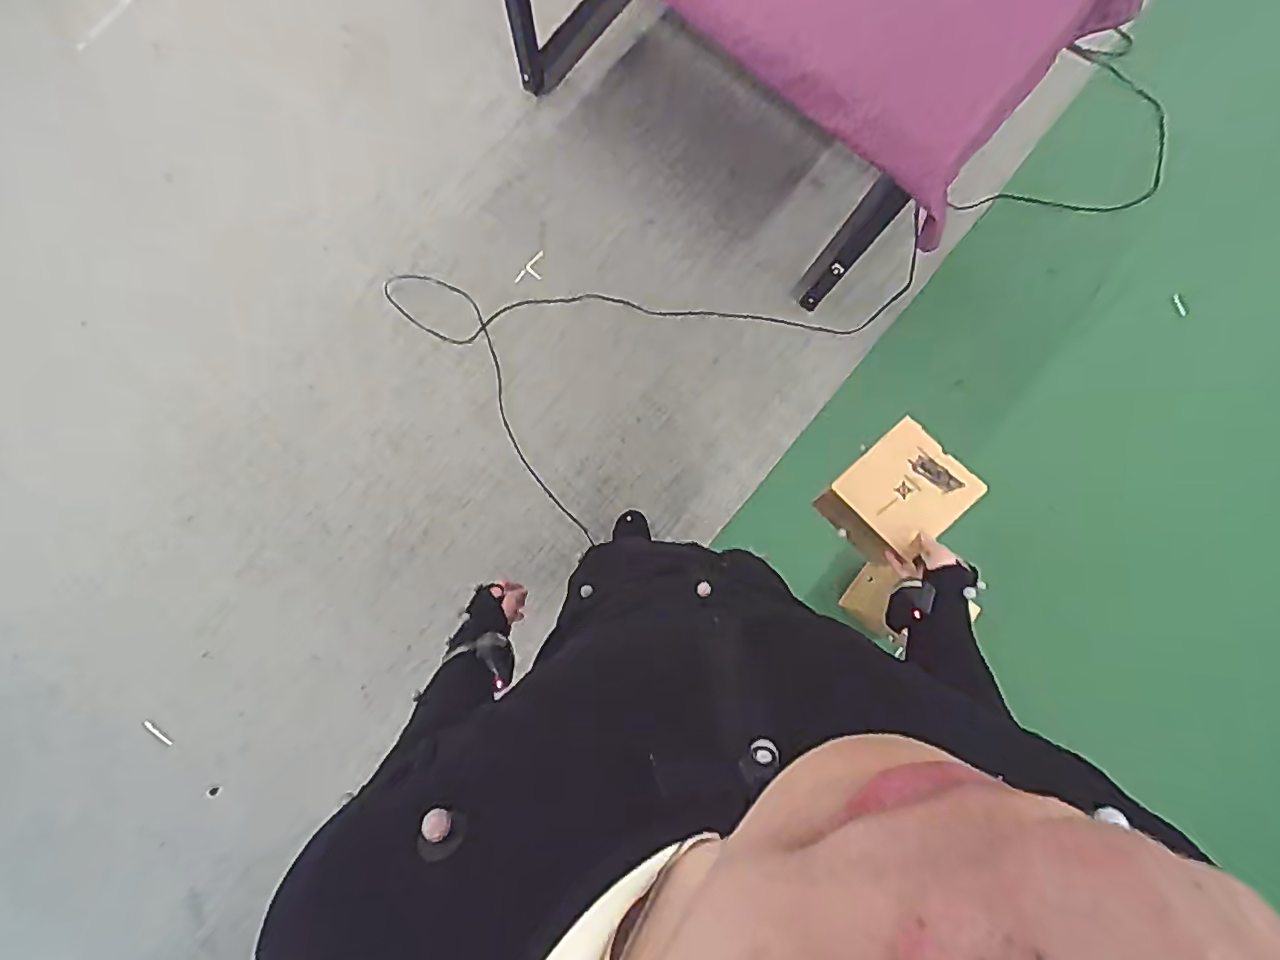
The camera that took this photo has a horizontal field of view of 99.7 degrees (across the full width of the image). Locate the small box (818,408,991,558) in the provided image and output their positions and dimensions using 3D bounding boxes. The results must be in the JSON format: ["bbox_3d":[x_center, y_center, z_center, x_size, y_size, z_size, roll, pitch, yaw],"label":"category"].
[{"bbox_3d":[0.428,0.013,0.911,0.179,0.176,0.168,-42,77,-1],"label":"small box"}]

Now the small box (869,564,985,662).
[{"bbox_3d":[0.735,0.334,1.407,0.168,0.176,0.179,39,85,1],"label":"small box"}]

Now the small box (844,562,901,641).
[{"bbox_3d":[0.730,0.351,1.570,0.179,0.176,0.168,39,85,0],"label":"small box"}]
